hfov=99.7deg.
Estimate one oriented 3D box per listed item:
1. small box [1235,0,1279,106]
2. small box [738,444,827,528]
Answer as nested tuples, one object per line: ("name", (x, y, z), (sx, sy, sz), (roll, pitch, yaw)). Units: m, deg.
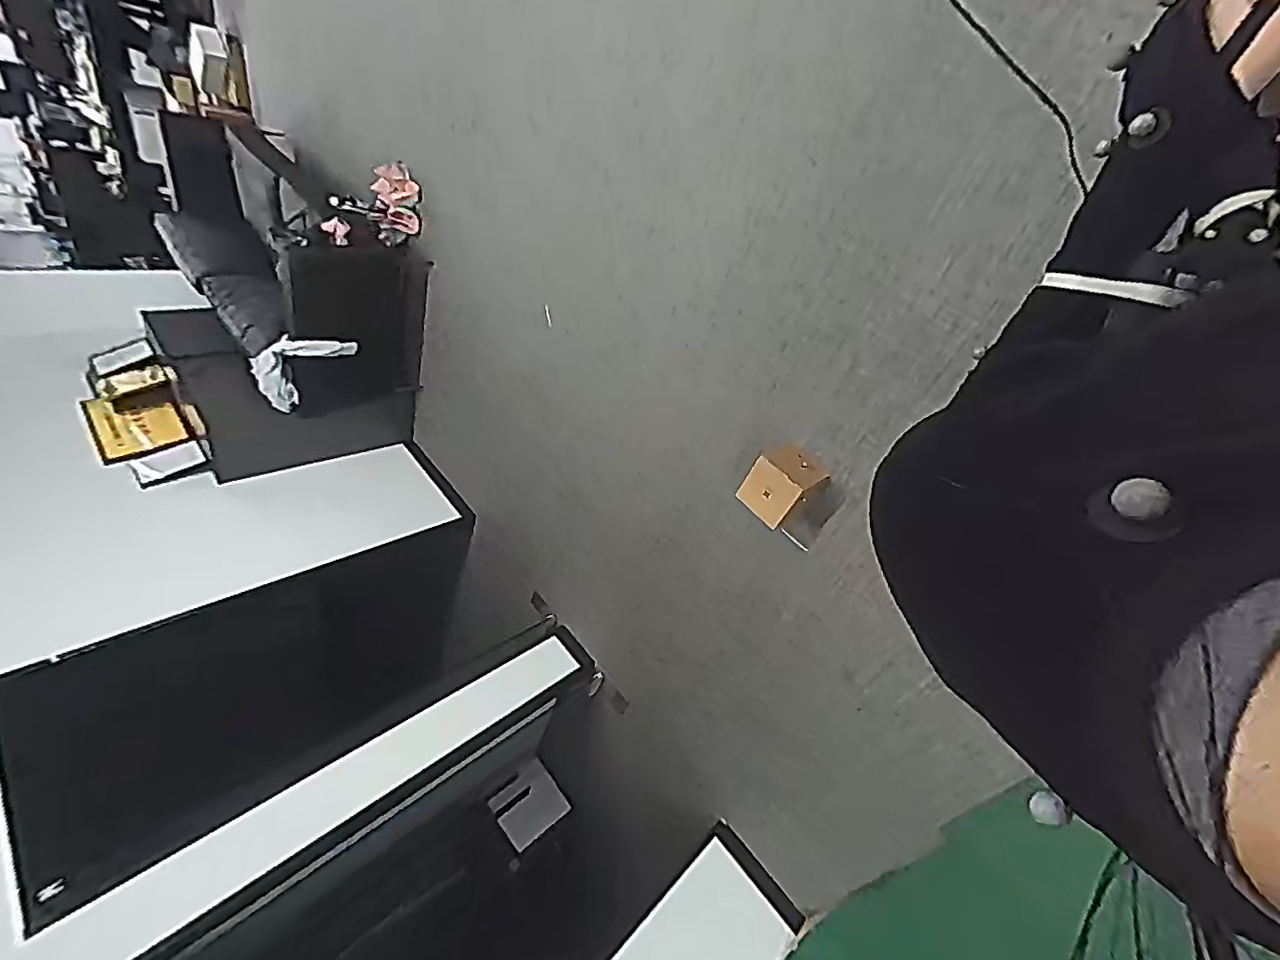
("small box", (0.497, -0.345, 0.296), (0.179, 0.176, 0.168), (20, 98, 36))
("small box", (0.444, 0.015, 1.671), (0.168, 0.176, 0.179), (45, 131, 24))
